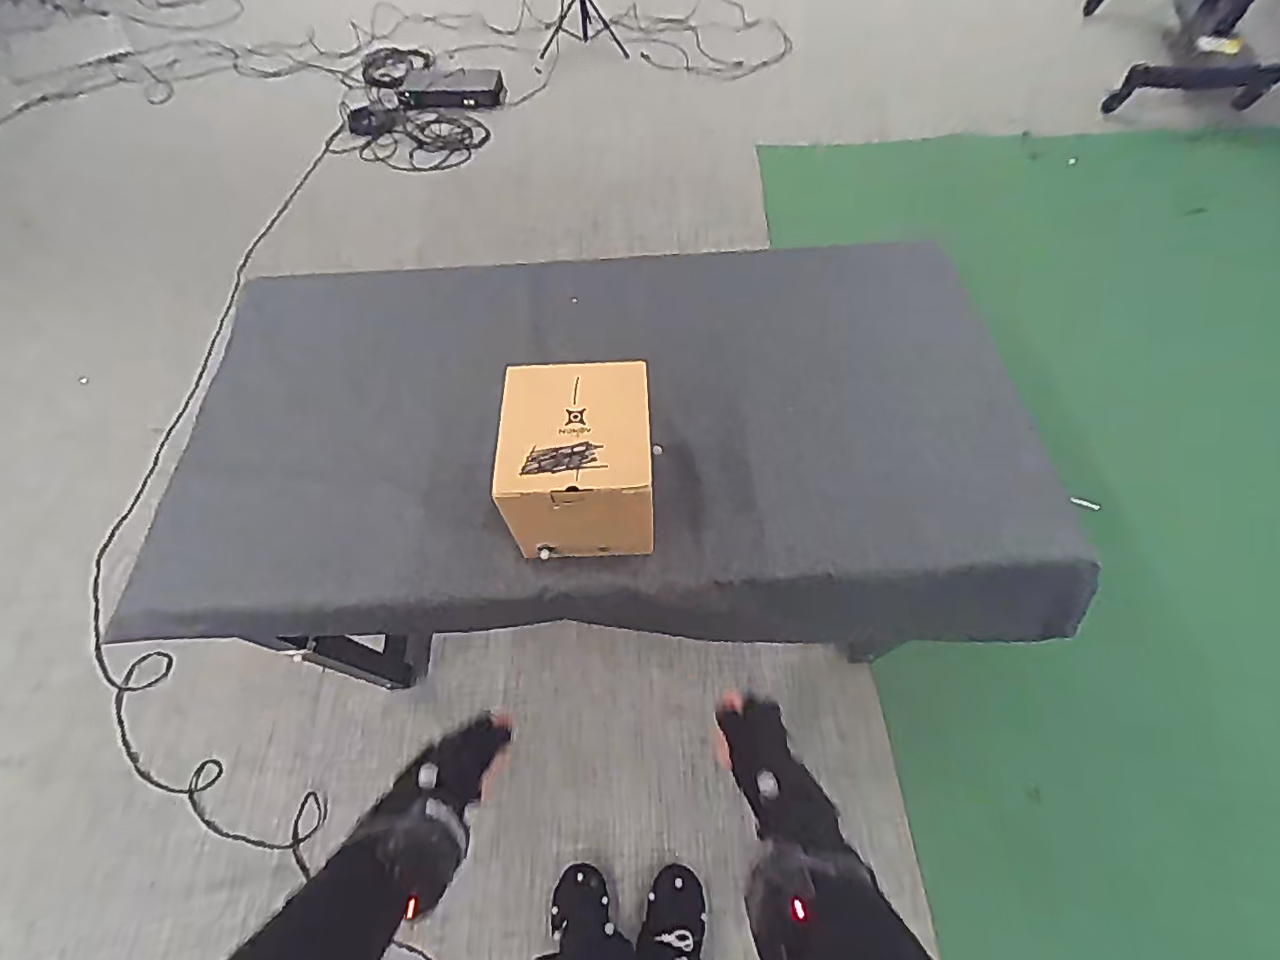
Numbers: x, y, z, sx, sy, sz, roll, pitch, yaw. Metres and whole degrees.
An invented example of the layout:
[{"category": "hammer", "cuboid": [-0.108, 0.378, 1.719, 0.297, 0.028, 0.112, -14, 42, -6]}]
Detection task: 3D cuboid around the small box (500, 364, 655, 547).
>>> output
[{"category": "small box", "cuboid": [-0.066, -0.022, 0.680, 0.168, 0.176, 0.179, -2, 59, 1]}]
